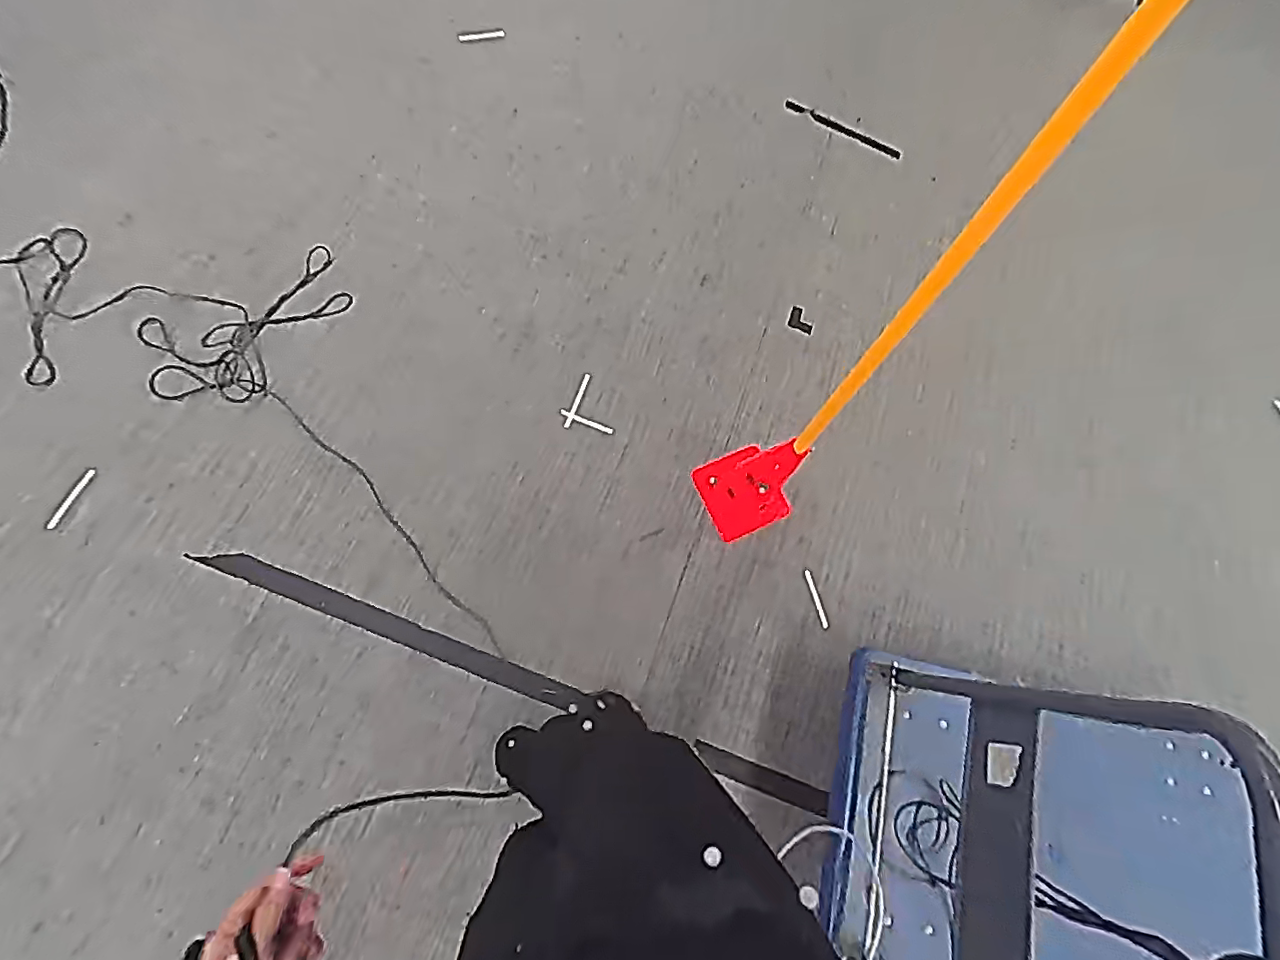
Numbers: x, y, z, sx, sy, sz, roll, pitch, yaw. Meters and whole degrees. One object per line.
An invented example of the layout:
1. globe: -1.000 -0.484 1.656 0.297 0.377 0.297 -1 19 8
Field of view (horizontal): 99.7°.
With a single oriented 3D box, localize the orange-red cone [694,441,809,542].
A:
1. orange-red cone: 0.272 -0.009 1.160 0.198 0.360 0.199 -22 80 -13
